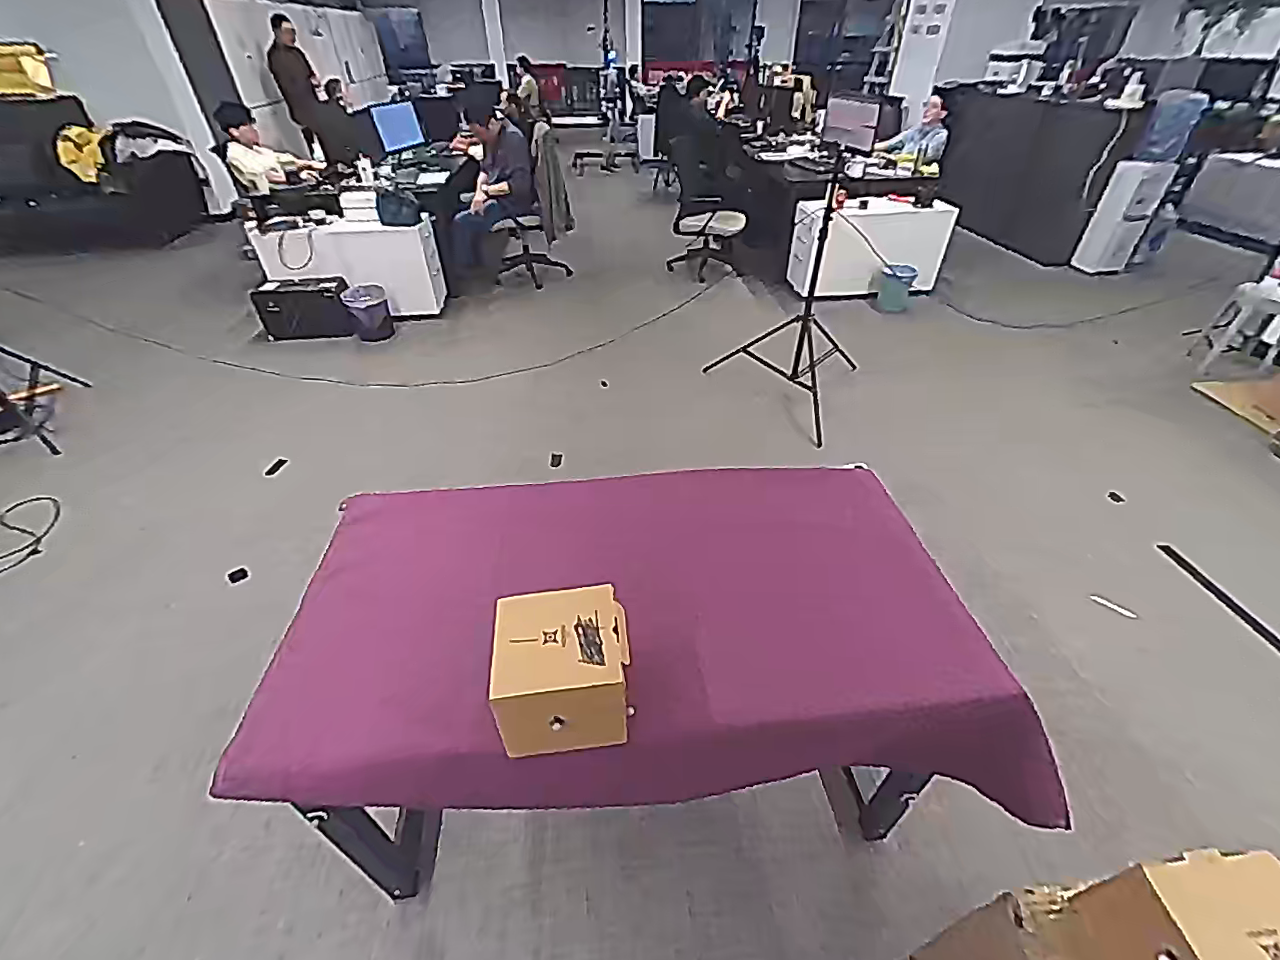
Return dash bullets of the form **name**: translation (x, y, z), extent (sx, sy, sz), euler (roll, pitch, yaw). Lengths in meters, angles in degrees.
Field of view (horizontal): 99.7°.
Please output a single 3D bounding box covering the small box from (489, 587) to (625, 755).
- **small box**: translation (-0.115, 0.284, 0.807), extent (0.179, 0.176, 0.168), euler (-6, 39, -5)
